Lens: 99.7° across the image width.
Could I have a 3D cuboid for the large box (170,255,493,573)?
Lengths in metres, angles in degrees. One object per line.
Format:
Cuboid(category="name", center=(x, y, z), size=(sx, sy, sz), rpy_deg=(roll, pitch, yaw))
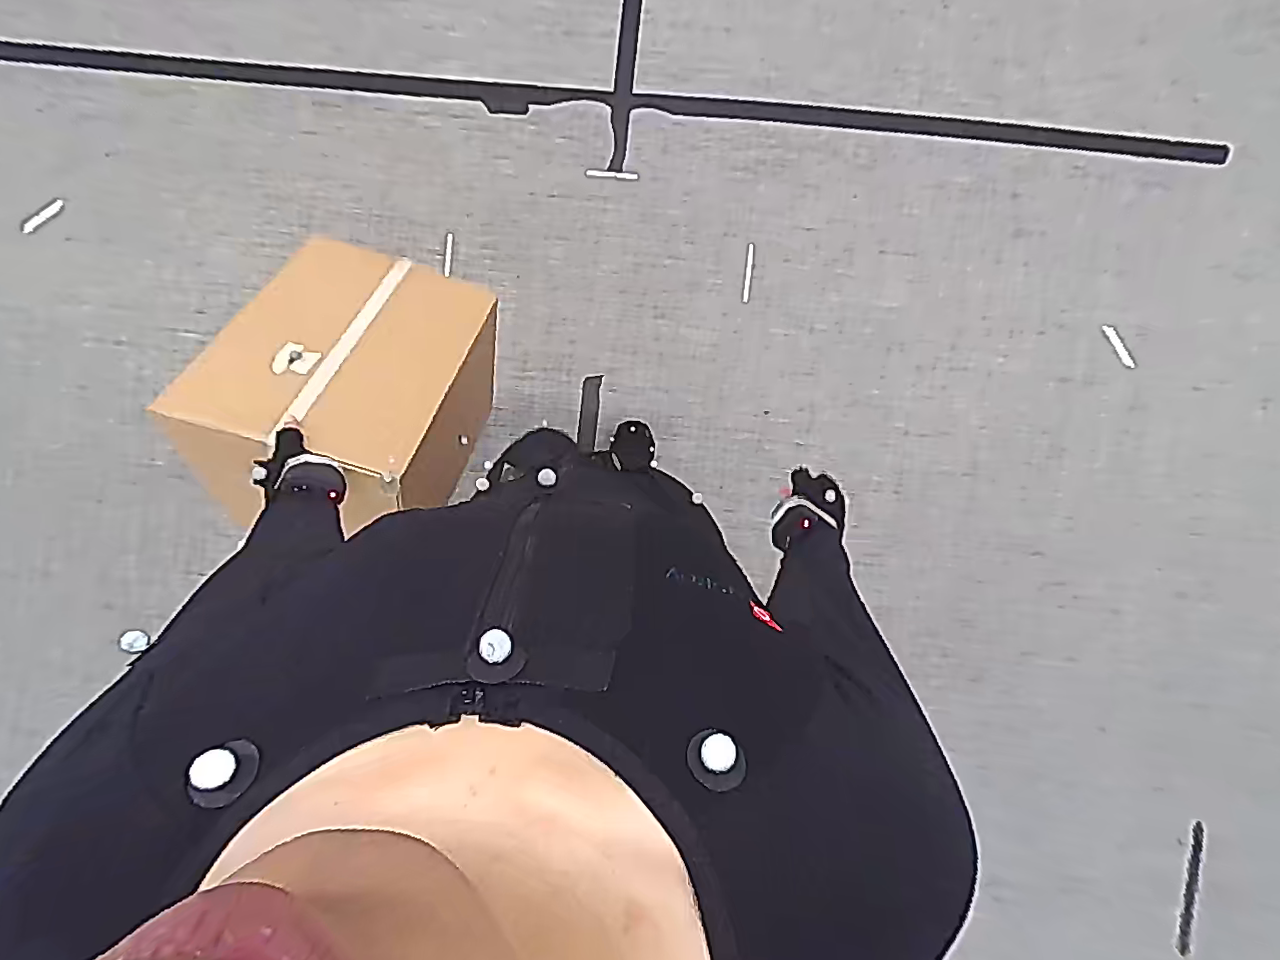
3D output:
Cuboid(category="large box", center=(-0.469, -0.109, 0.943), size=(0.320, 0.320, 0.408), rpy_deg=(15, 53, -6))
